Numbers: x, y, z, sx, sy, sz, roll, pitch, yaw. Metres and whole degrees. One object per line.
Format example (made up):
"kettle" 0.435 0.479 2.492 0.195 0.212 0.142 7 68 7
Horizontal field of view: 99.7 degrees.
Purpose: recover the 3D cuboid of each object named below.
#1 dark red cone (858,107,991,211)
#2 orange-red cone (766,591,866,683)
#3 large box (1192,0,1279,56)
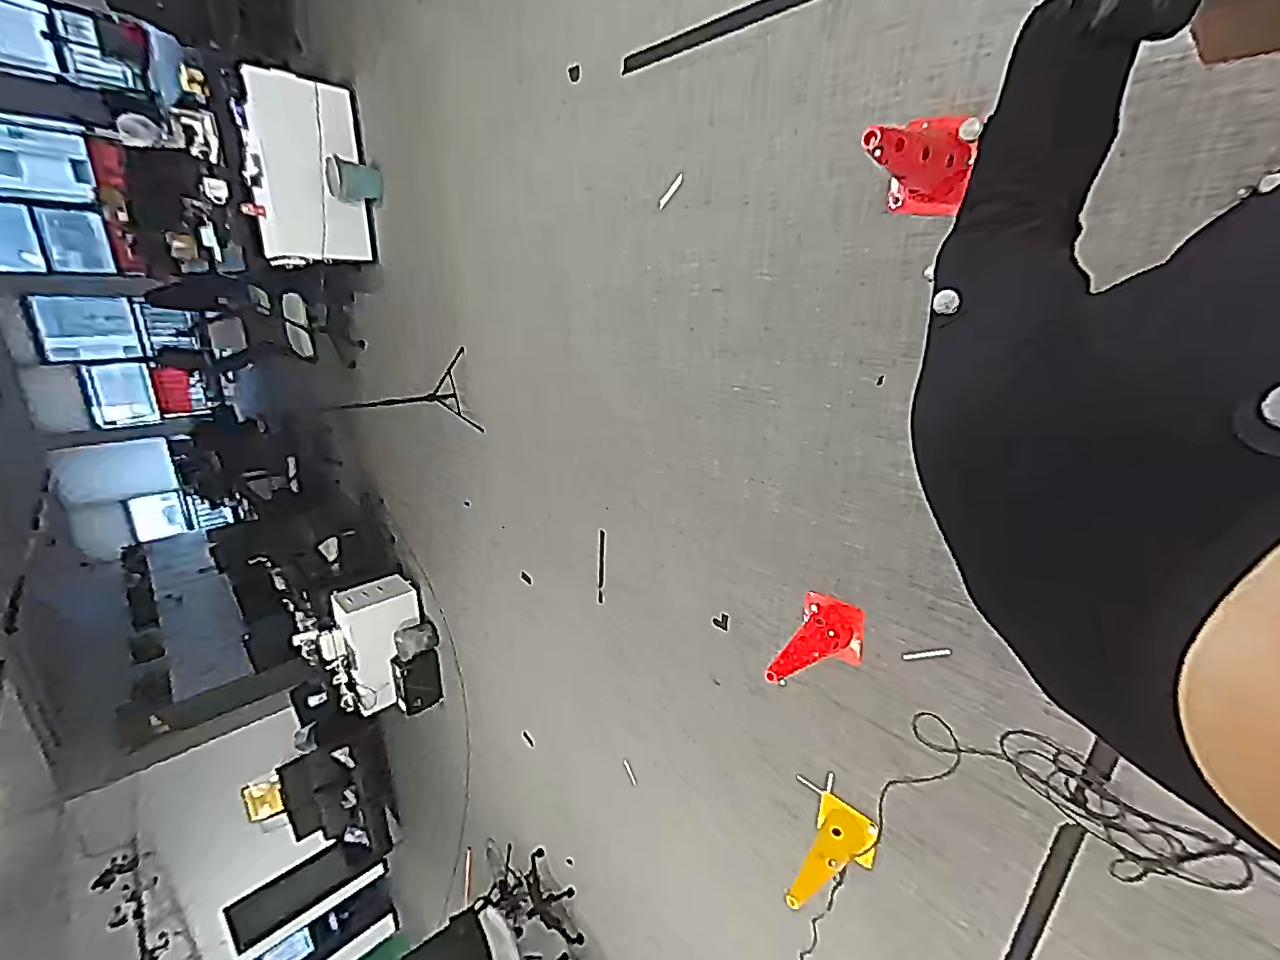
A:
"dark red cone" 0.554 -0.691 1.126 0.201 0.394 0.202 26 121 39
"orange-red cone" 0.497 0.510 1.621 0.198 0.360 0.199 18 117 45
"large box" 0.552 -0.451 0.228 0.408 0.320 0.320 18 121 42
